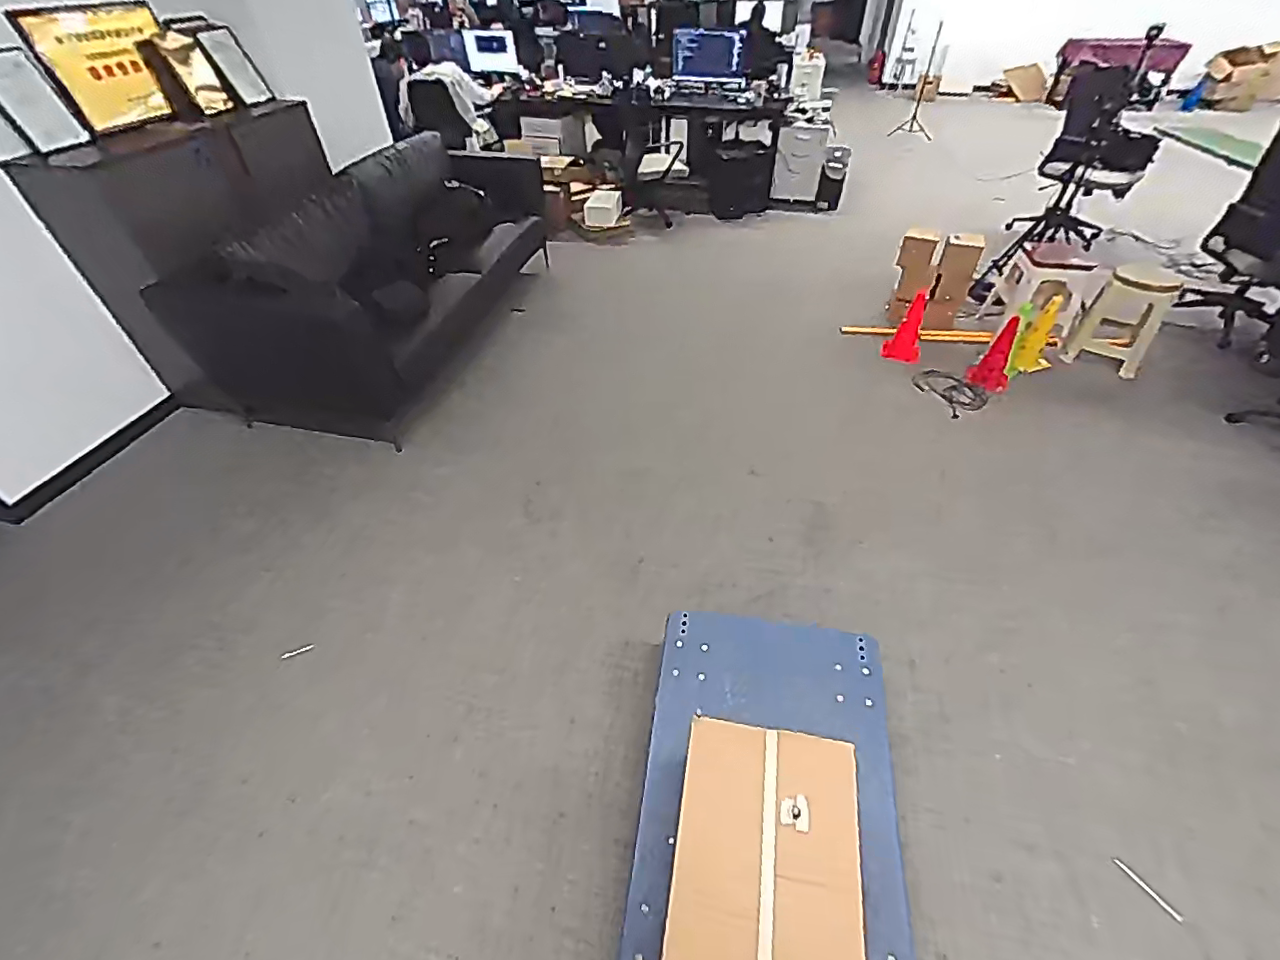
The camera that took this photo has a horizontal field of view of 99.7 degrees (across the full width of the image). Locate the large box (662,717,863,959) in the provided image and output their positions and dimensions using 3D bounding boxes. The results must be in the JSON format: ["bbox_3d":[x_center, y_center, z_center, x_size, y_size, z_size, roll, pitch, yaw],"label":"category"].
[{"bbox_3d":[0.224,0.738,1.053,0.320,0.320,0.408,7,51,8],"label":"large box"}]
